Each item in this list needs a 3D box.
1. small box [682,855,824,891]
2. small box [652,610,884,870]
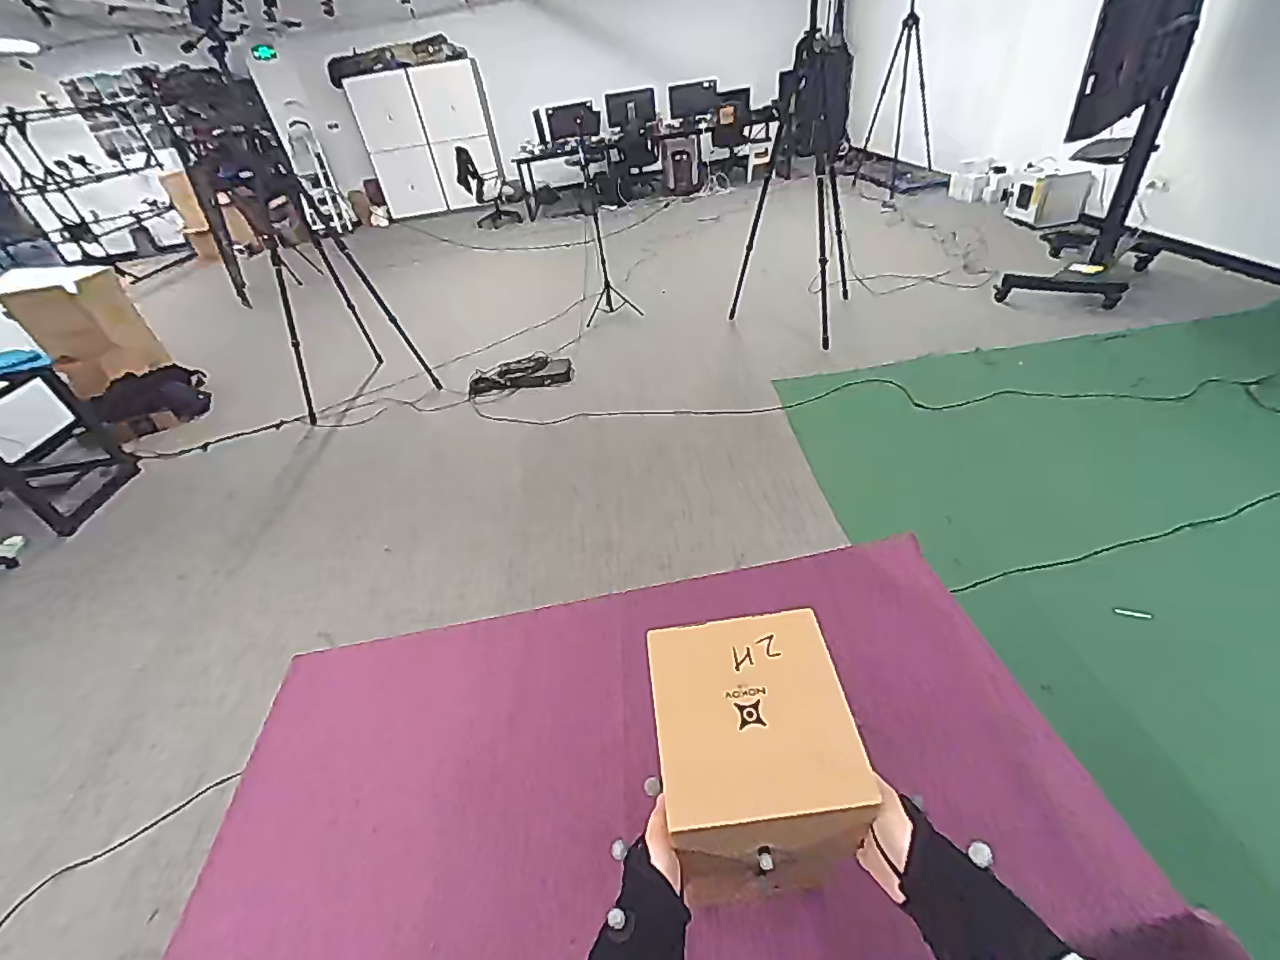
[{"bbox_3d":[0.126,0.382,0.673,0.168,0.176,0.179,-10,38,0],"label":"small box"},{"bbox_3d":[0.108,0.253,0.520,0.168,0.176,0.179,-8,44,1],"label":"small box"}]
